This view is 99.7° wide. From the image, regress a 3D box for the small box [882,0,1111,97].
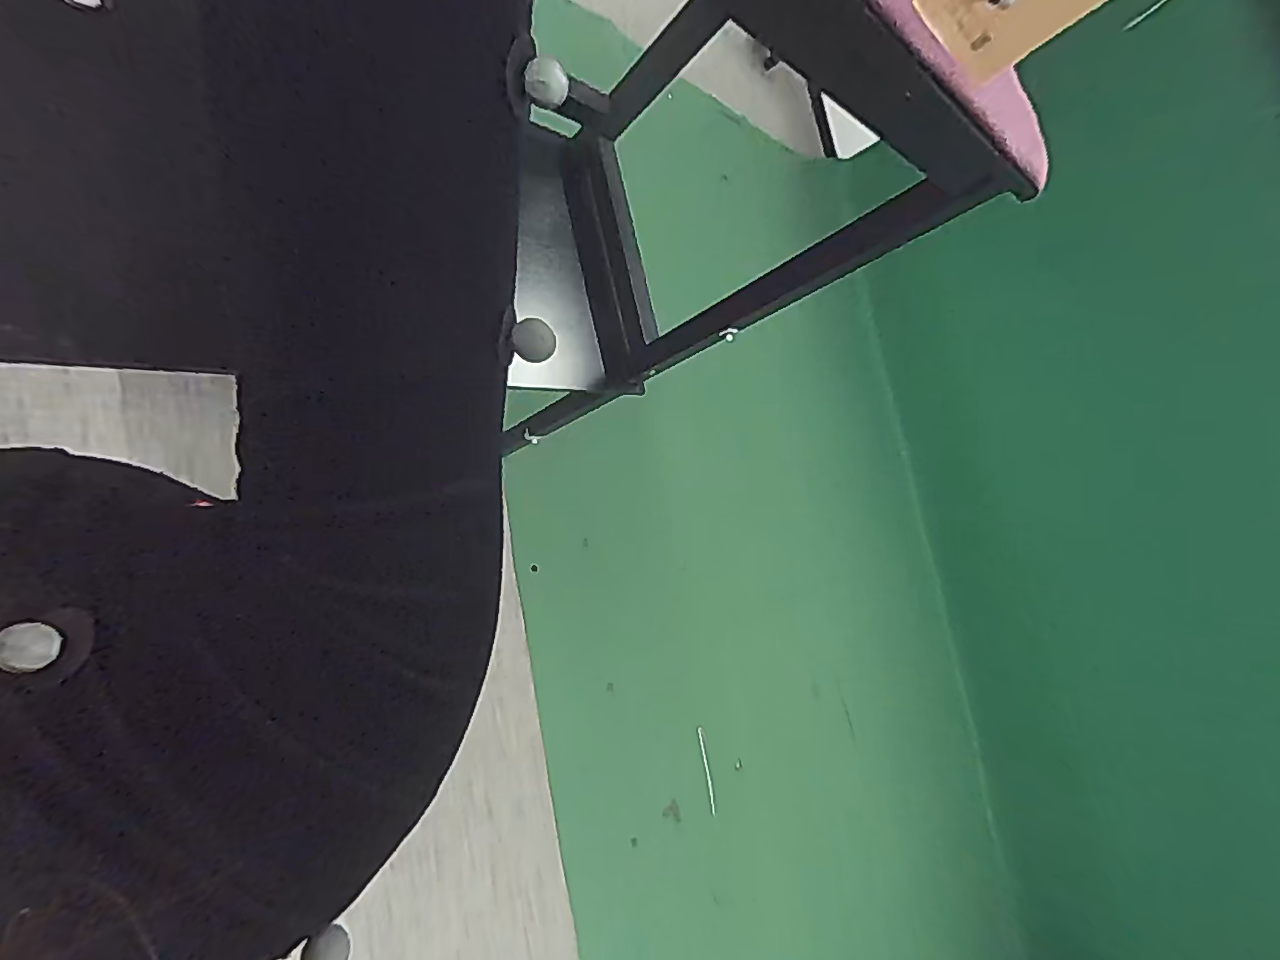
[{"bbox_3d":[0.301,-0.485,0.454,0.168,0.176,0.179,-3,82,-42],"label":"small box"}]
